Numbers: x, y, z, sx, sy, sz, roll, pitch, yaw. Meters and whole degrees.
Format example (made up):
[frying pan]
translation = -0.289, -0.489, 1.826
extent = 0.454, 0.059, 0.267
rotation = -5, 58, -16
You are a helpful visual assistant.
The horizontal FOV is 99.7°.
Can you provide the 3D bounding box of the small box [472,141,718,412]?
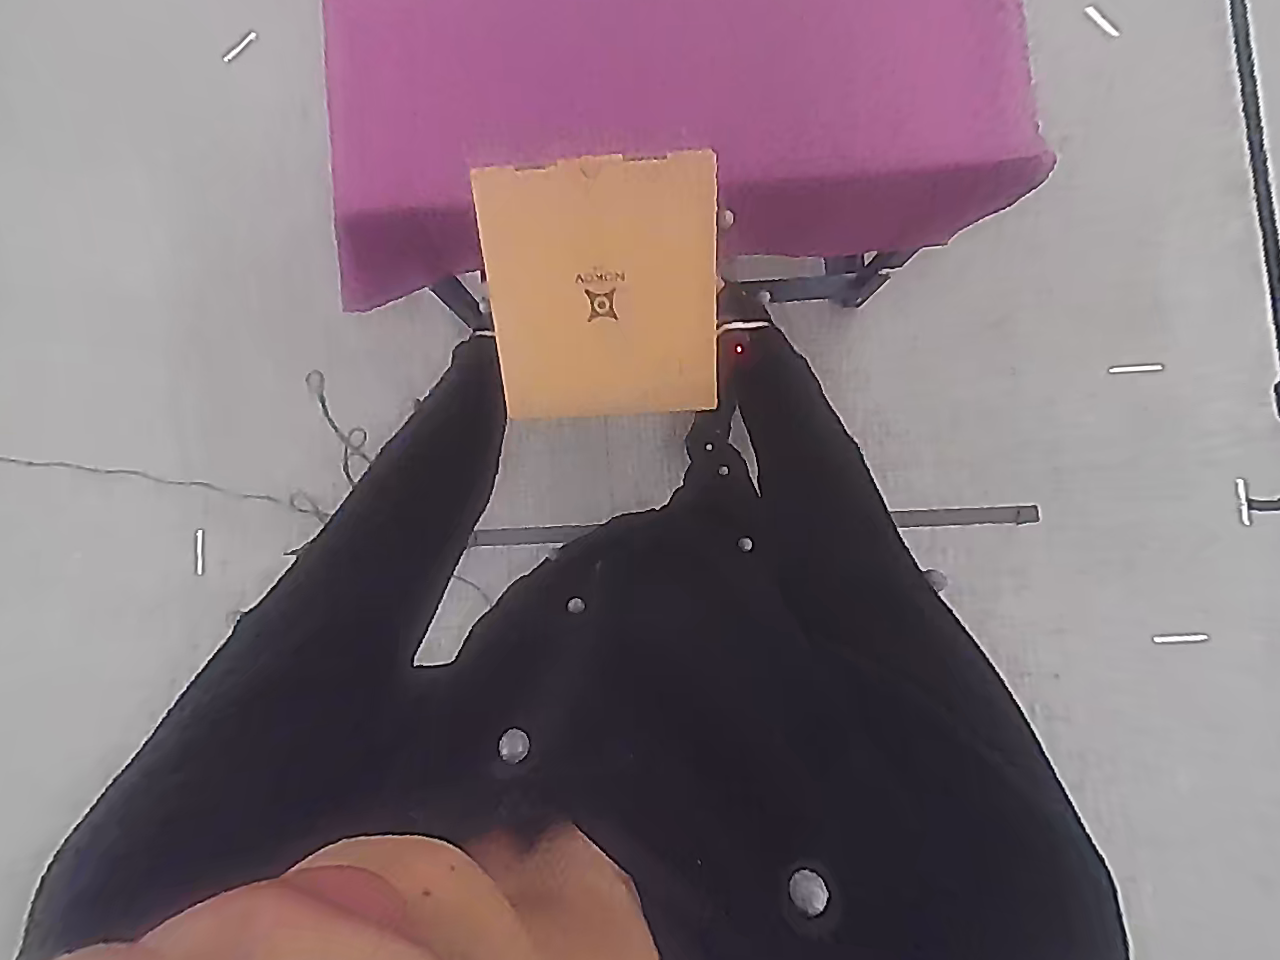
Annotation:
[small box]
translation = -0.021, -0.166, 0.459
extent = 0.168, 0.176, 0.179
rotation = -3, 112, 4
